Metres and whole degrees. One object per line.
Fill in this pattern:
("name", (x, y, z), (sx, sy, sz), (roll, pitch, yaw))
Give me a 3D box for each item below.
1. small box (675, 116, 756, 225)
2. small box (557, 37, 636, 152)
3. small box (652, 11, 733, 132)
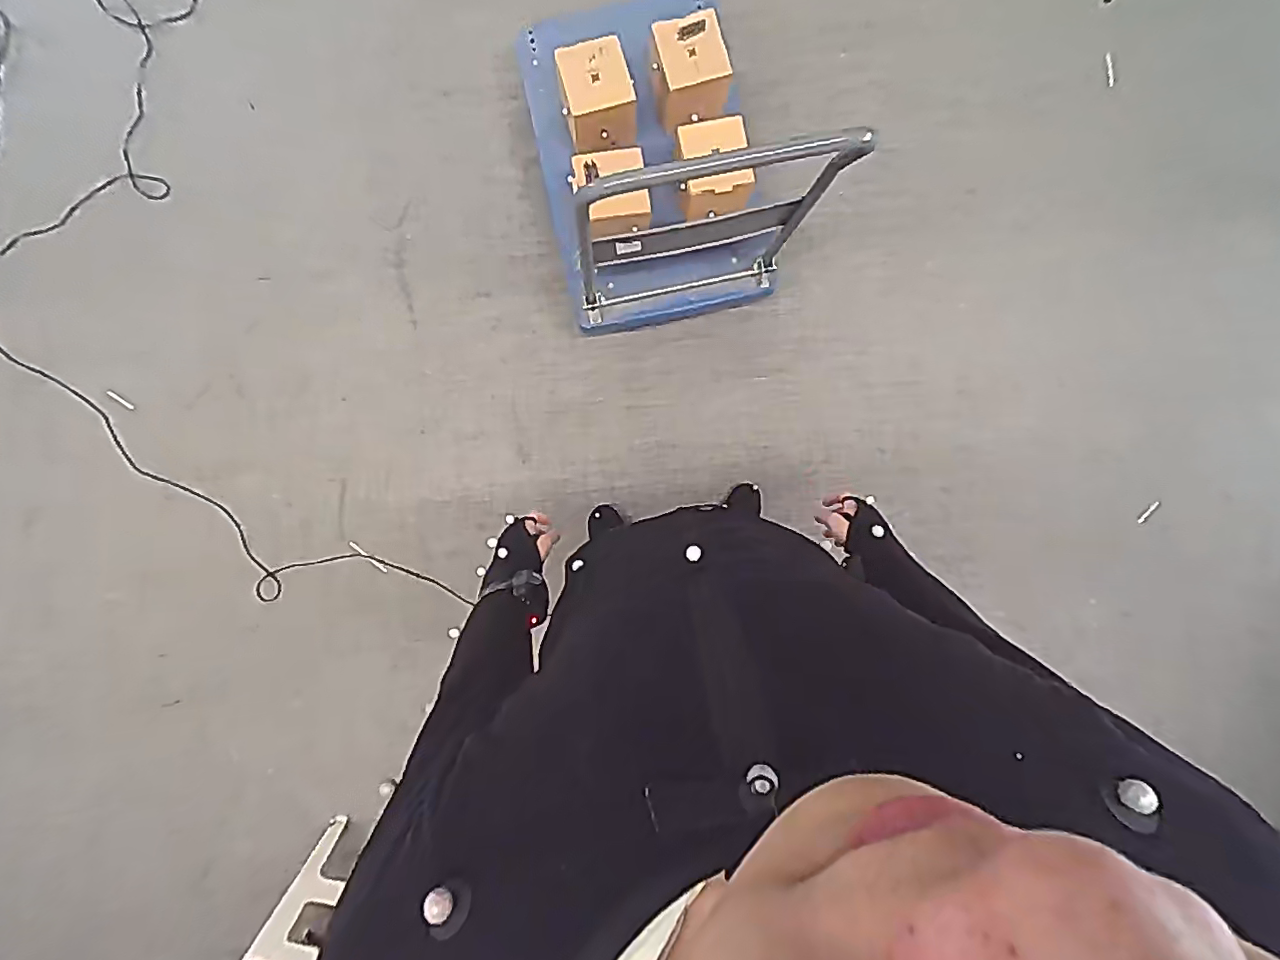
("small box", (0.193, -0.813, 1.433), (0.168, 0.176, 0.179), (-12, 89, -2))
("small box", (-0.109, -1.005, 1.431), (0.168, 0.176, 0.179), (-16, 89, -2))
("small box", (0.132, -1.077, 1.437), (0.168, 0.176, 0.179), (-16, 90, -1))
